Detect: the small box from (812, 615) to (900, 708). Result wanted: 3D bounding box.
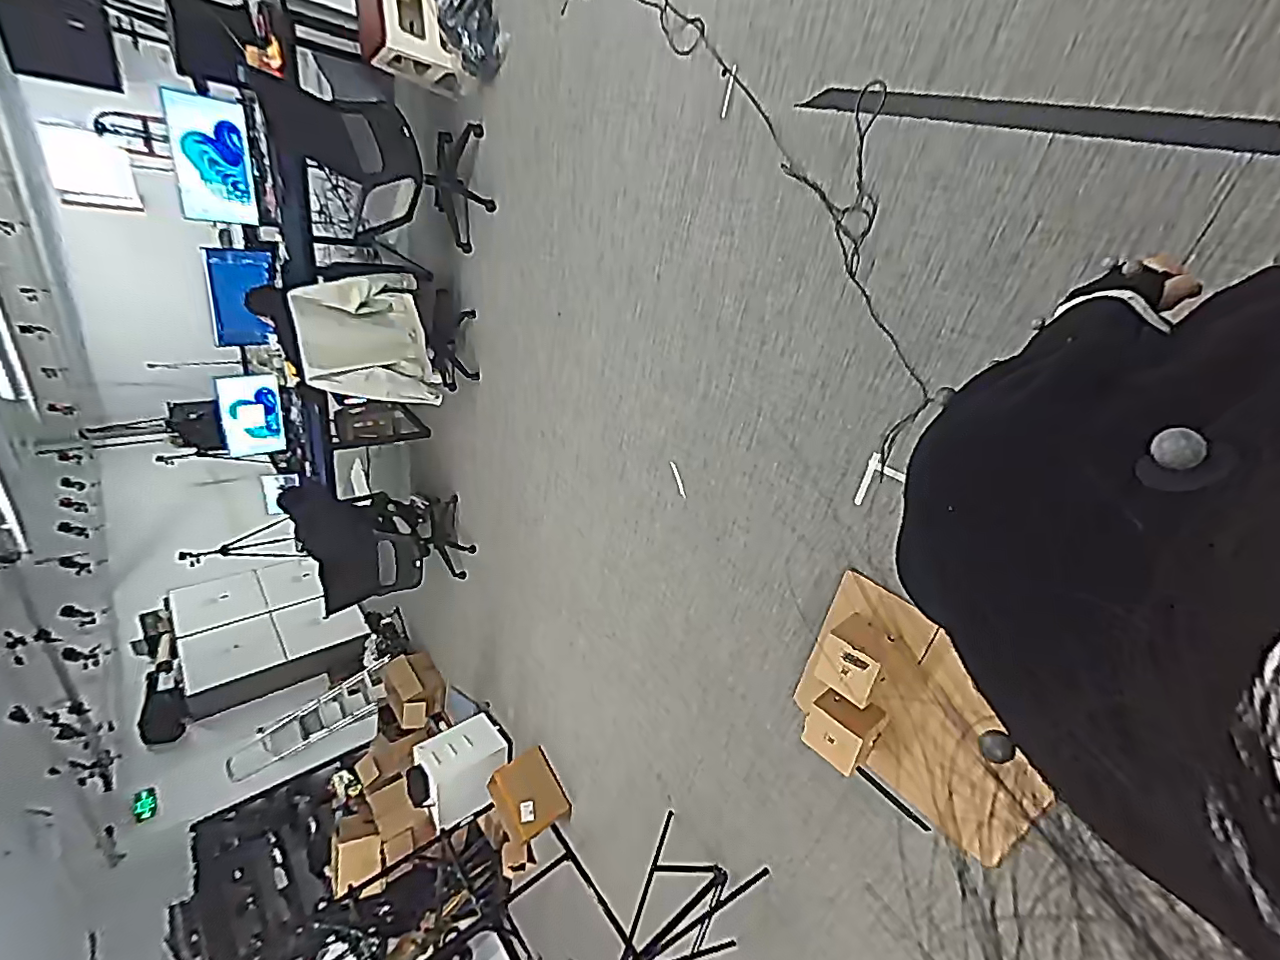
[{"bbox_3d":[0.653,0.535,1.624,0.168,0.176,0.179,31,123,40],"label":"small box"}]

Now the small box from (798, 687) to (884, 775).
[{"bbox_3d":[0.639,0.779,1.717,0.179,0.176,0.168,29,123,40],"label":"small box"}]
